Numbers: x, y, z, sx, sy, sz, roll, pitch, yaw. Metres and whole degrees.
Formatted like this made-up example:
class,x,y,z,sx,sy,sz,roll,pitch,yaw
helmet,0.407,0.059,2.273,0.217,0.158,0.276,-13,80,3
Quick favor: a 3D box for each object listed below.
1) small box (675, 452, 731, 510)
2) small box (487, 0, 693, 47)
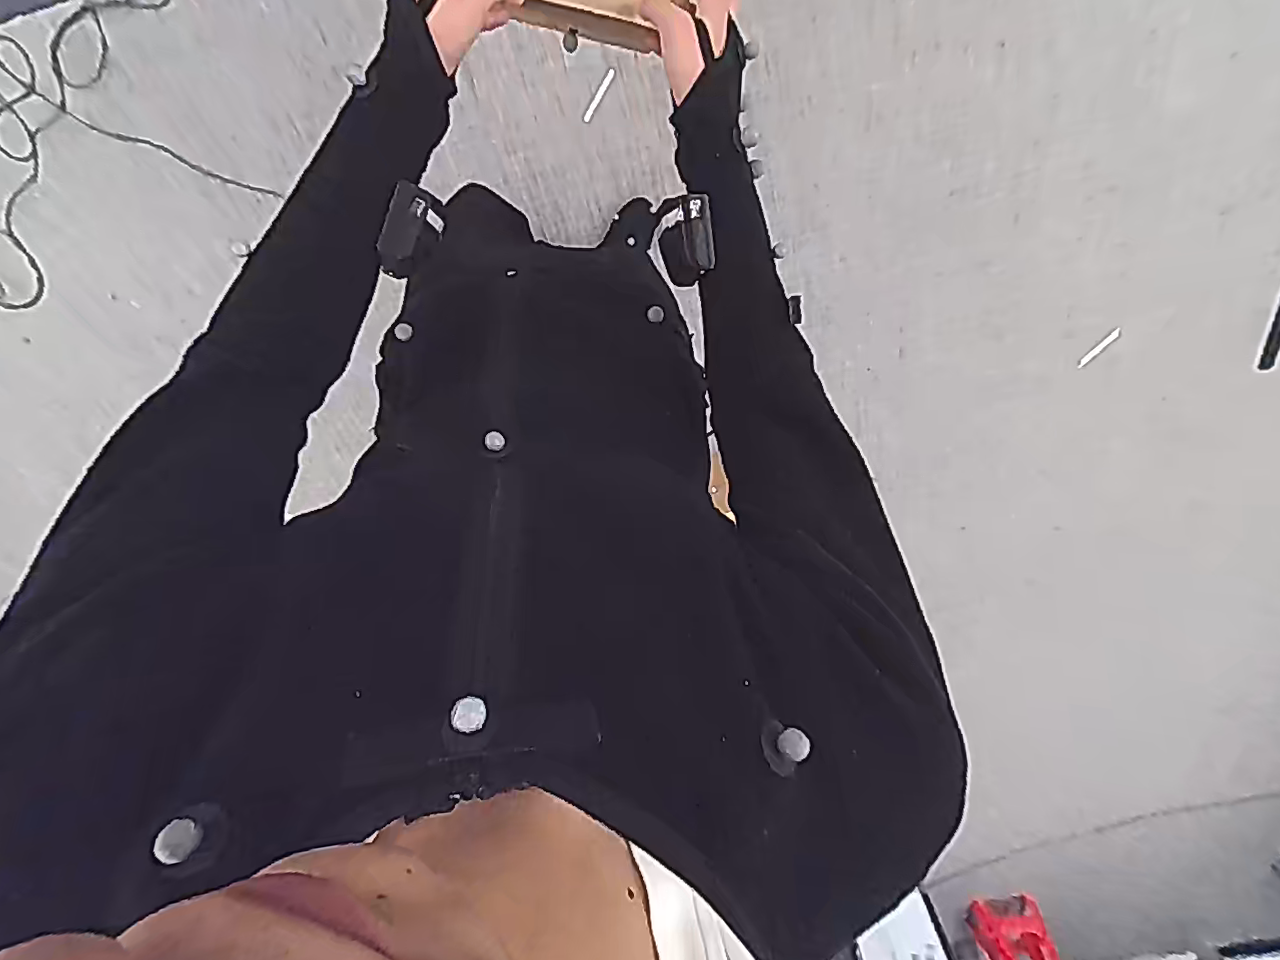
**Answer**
class,x,y,z,sx,sy,sz,roll,pitch,yaw
small box,0.221,0.040,1.738,0.168,0.176,0.179,-19,120,8
small box,-0.044,-0.499,0.468,0.179,0.176,0.168,3,123,-15
